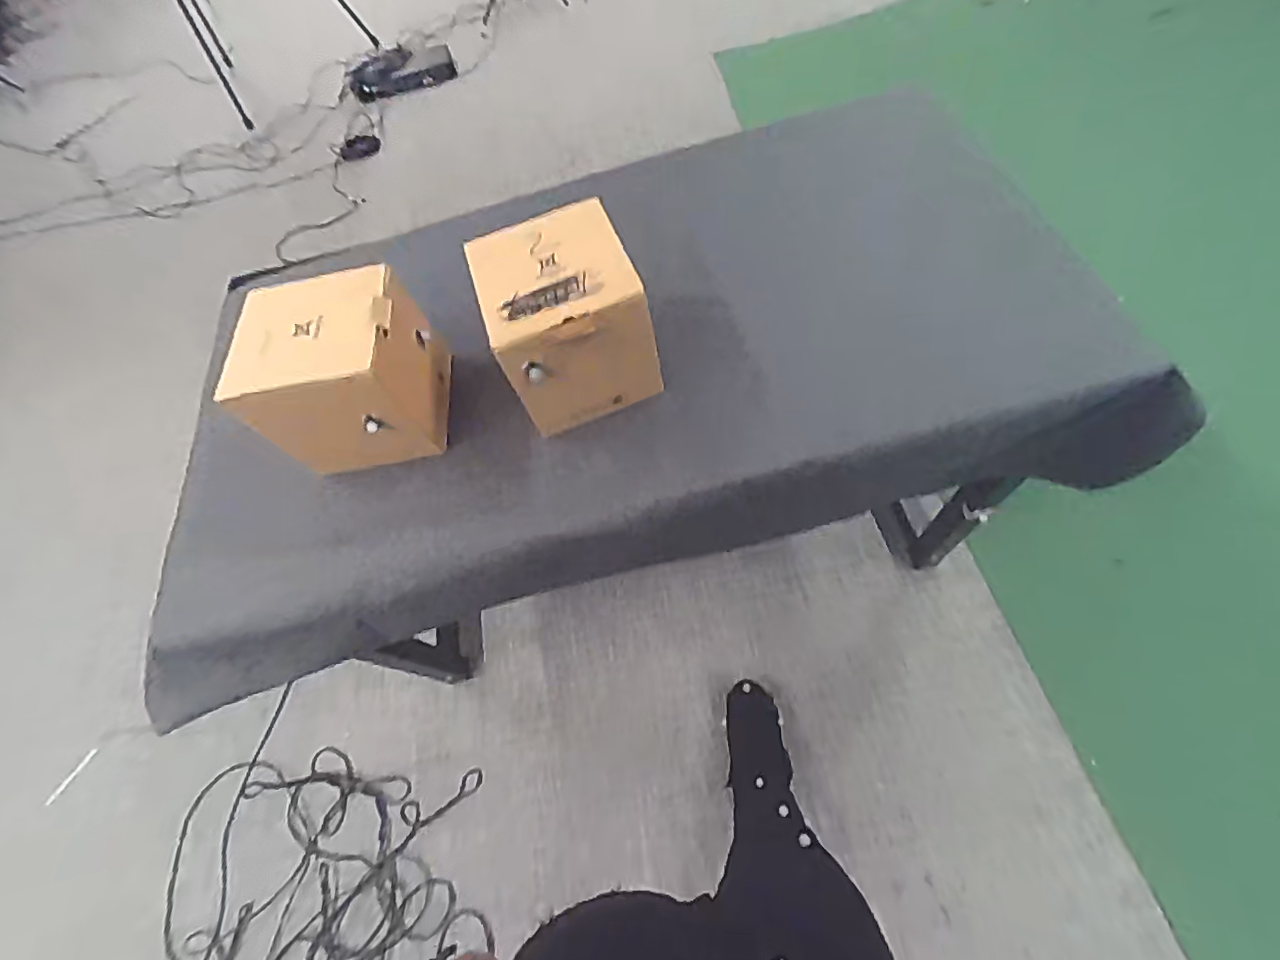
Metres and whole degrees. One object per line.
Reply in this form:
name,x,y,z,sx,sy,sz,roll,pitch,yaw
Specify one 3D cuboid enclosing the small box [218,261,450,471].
small box,-0.350,-0.130,0.660,0.179,0.176,0.168,-11,60,4
